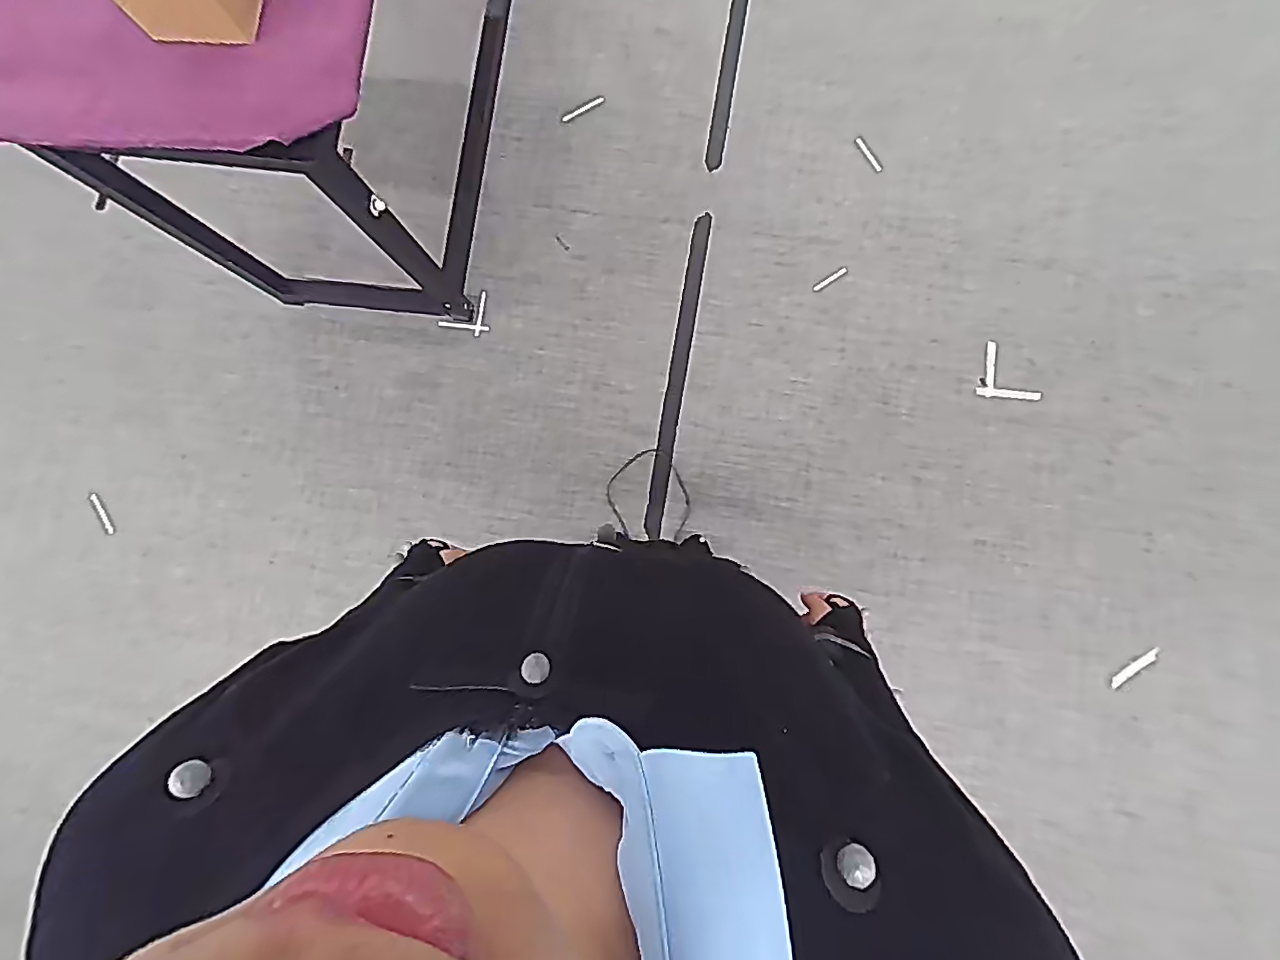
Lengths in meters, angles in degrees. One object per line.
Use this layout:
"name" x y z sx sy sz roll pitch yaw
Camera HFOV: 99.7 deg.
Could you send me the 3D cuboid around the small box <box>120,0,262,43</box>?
"small box" -0.705 -0.800 0.806 0.179 0.176 0.168 5 84 3
